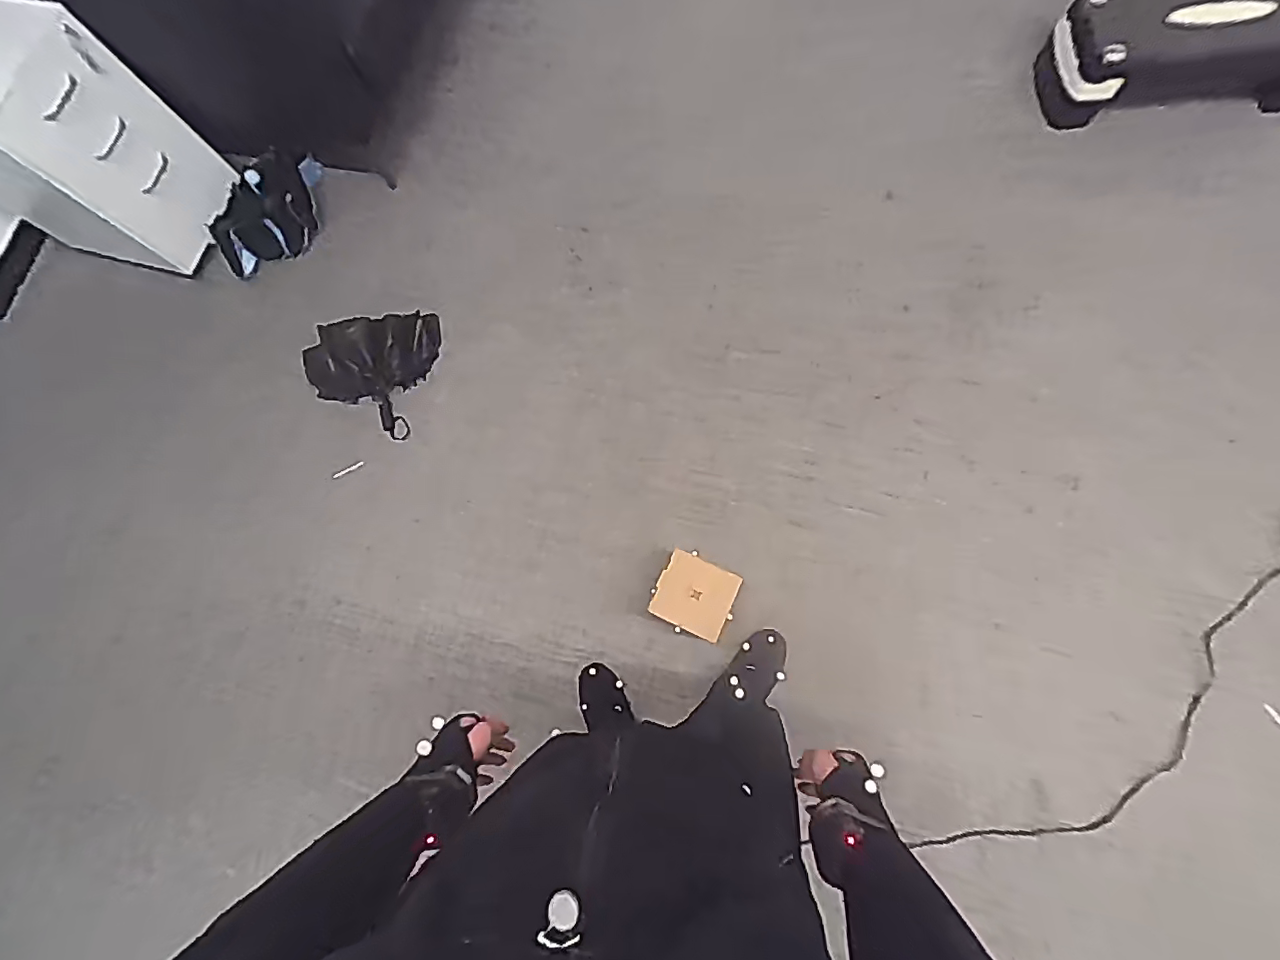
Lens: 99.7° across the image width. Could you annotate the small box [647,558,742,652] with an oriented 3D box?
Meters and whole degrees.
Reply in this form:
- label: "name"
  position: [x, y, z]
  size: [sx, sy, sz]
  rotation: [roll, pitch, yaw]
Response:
- label: "small box"
  position: [0.135, 0.310, 1.340]
  size: [0.179, 0.176, 0.168]
  rotation: [24, 80, 11]
